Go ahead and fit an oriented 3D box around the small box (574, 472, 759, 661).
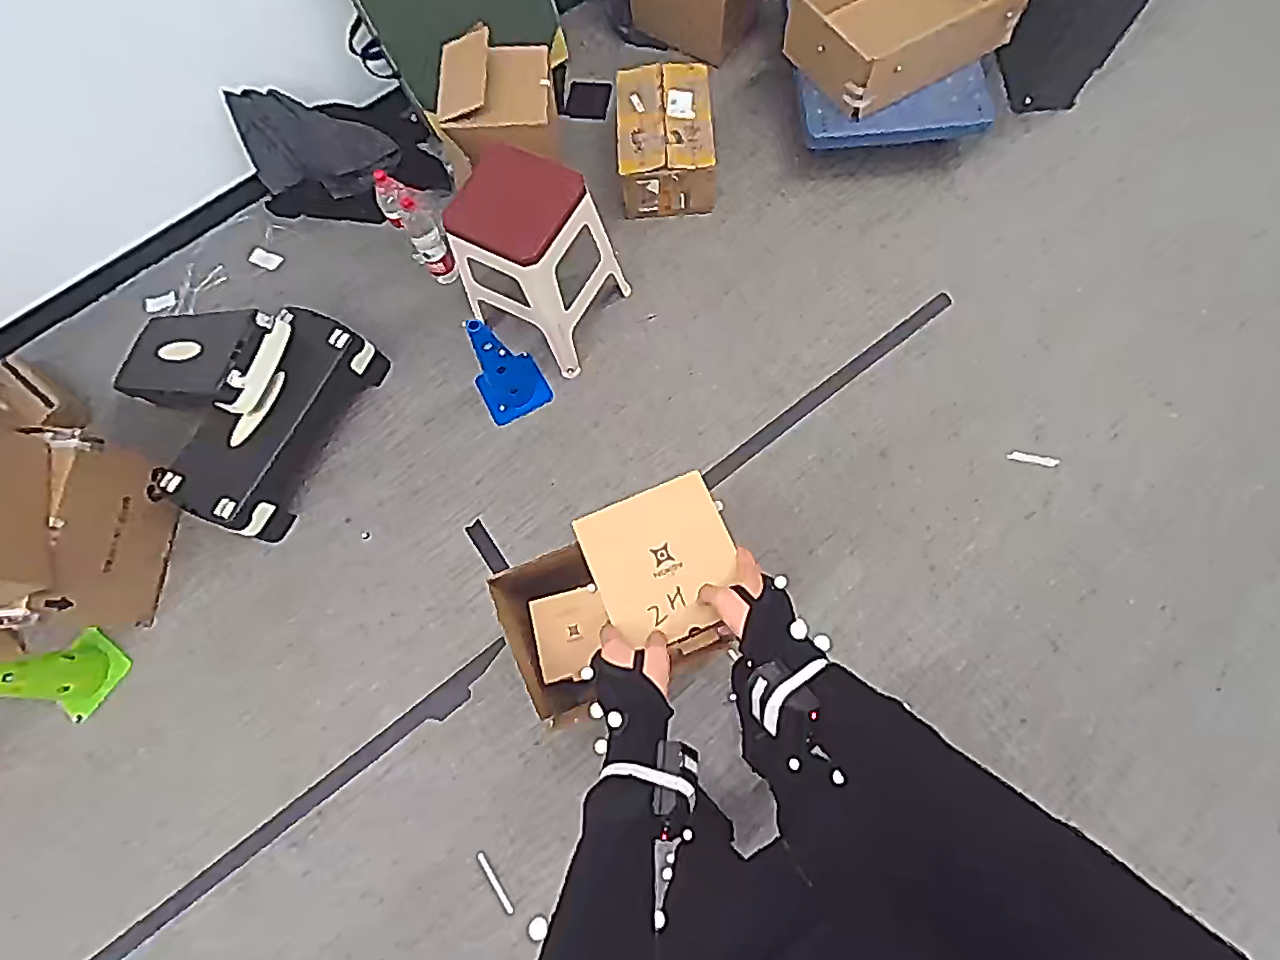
[{"bbox_3d":[0.029,0.117,0.697,0.168,0.176,0.179,-23,75,-4],"label":"small box"}]
